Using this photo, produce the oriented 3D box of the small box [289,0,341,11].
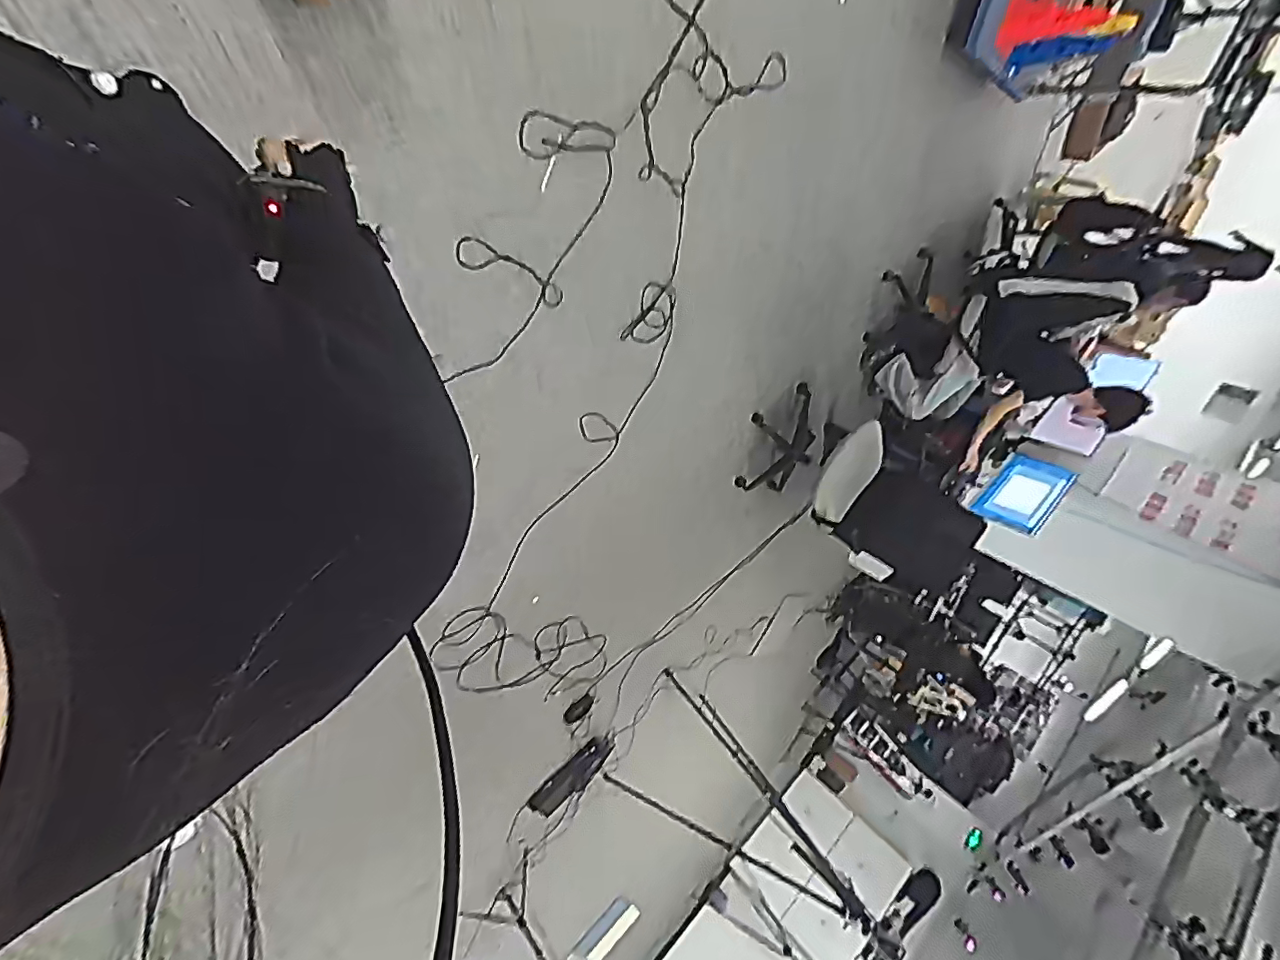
[{"bbox_3d":[-0.523,-0.913,0.896,0.179,0.176,0.168,-42,140,-20],"label":"small box"}]
